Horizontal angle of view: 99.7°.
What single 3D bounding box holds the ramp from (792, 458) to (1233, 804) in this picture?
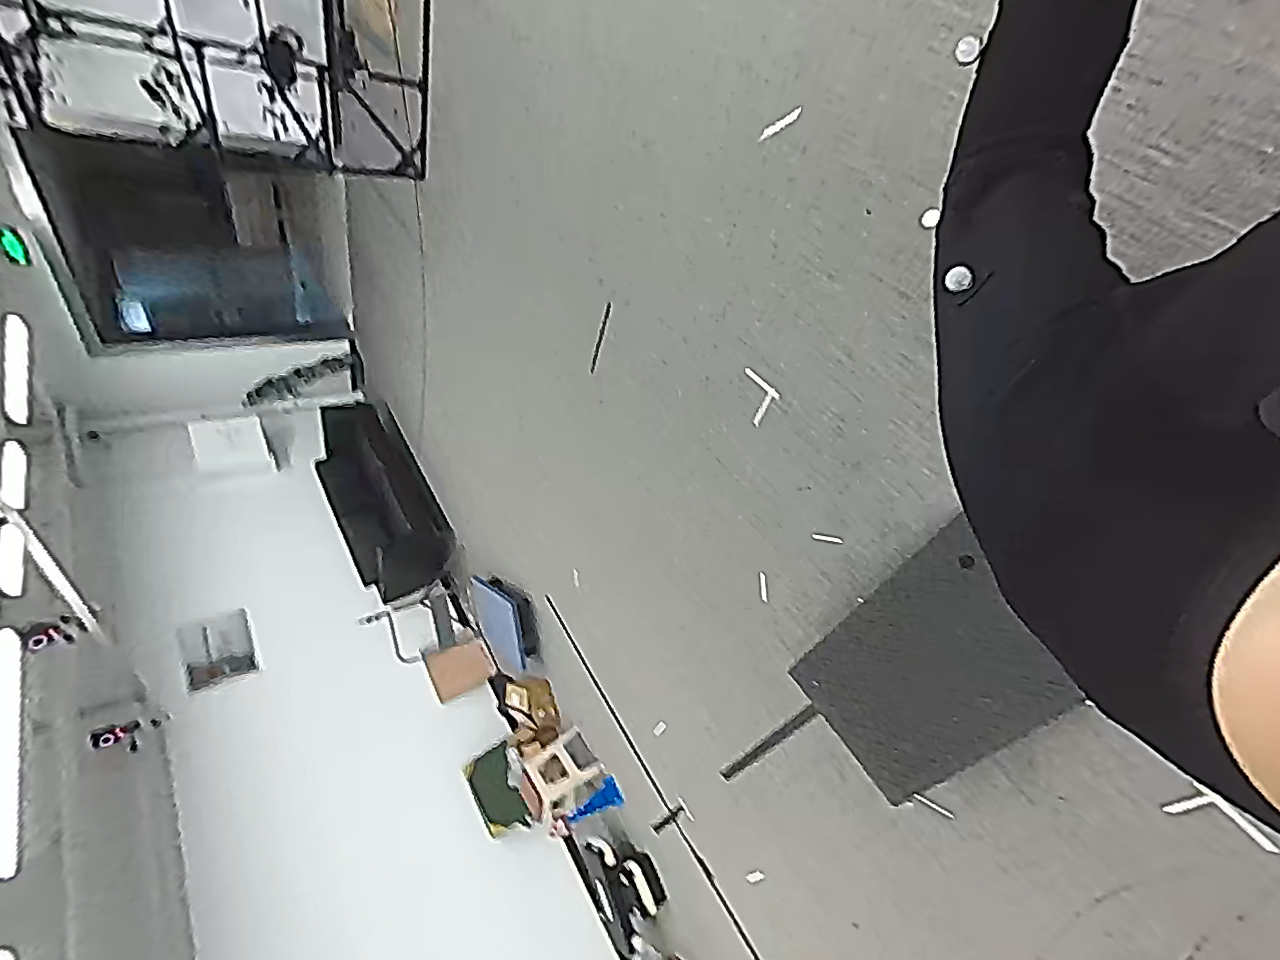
[{"bbox_3d":[0.864,0.456,1.481,0.509,0.206,0.991,52,139,31],"label":"ramp"}]
